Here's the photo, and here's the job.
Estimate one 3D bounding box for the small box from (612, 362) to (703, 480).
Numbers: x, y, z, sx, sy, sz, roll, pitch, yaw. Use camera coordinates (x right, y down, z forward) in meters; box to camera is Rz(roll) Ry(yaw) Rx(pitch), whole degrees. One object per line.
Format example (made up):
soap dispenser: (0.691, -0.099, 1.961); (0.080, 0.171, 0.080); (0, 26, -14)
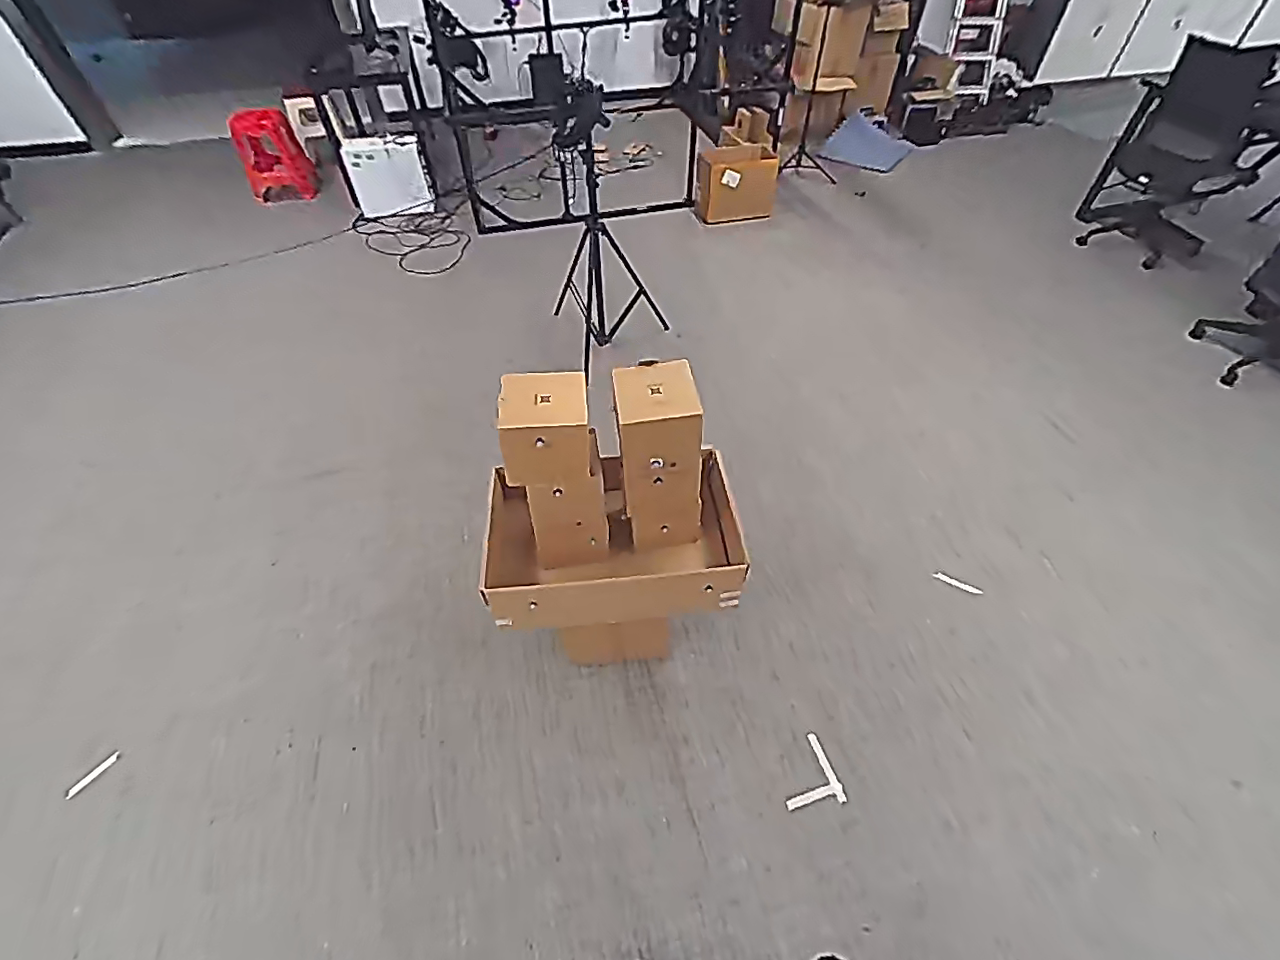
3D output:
small box: (0.033, -0.124, 1.148); (0.168, 0.176, 0.179); (-8, 49, -3)

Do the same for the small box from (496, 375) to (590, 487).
small box: (-0.195, -0.101, 1.133); (0.179, 0.176, 0.168); (-4, 49, -5)
